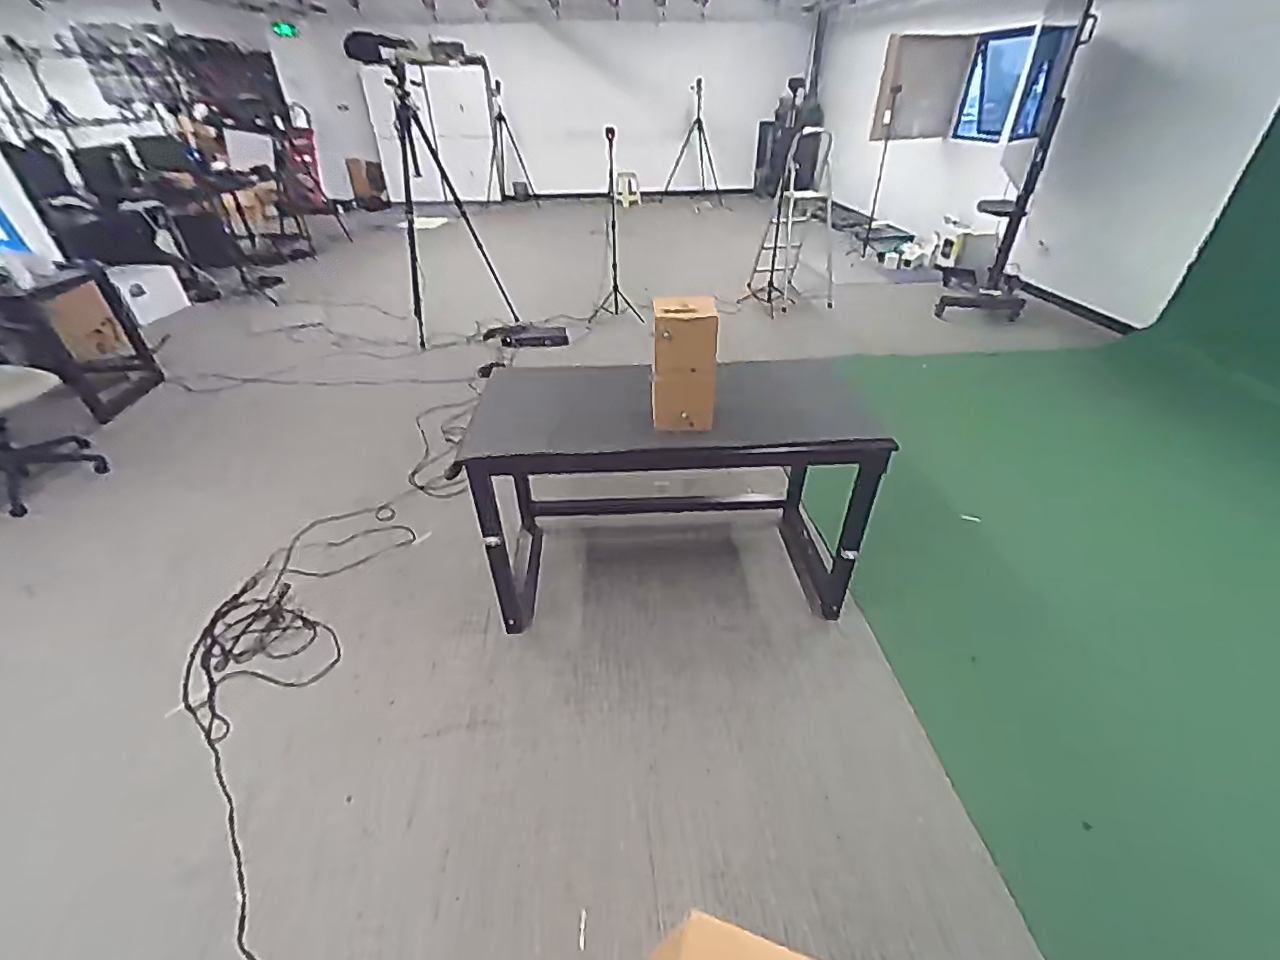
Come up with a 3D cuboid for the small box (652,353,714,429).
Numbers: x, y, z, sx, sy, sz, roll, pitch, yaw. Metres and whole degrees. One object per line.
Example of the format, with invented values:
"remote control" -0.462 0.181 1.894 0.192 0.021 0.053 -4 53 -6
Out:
"small box" 0.120 -0.261 1.580 0.168 0.176 0.179 -2 35 -1
